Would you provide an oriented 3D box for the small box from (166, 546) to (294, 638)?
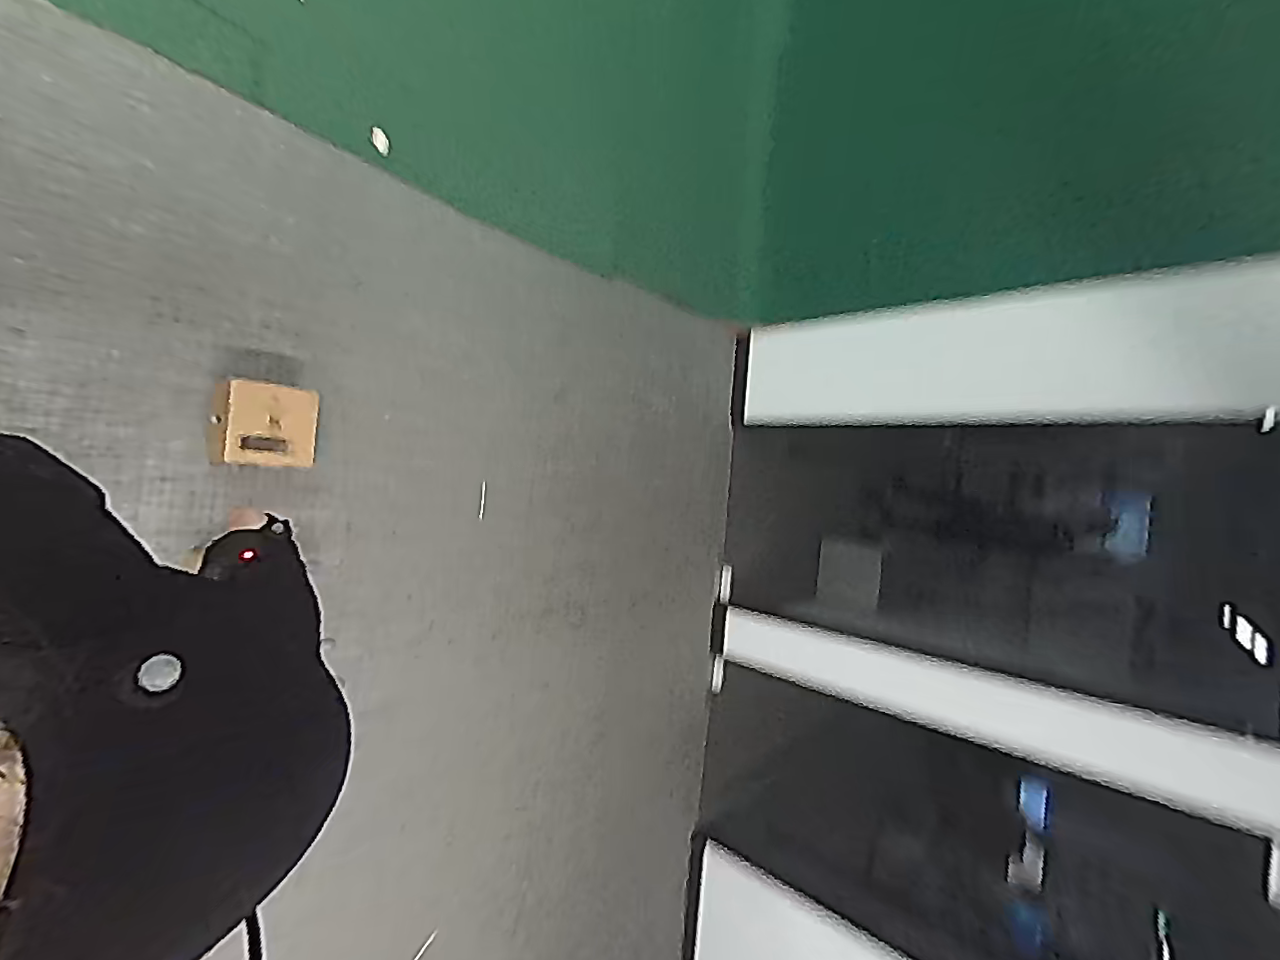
[{"bbox_3d":[-0.915,0.246,1.206,0.179,0.176,0.168,16,82,-48],"label":"small box"}]
